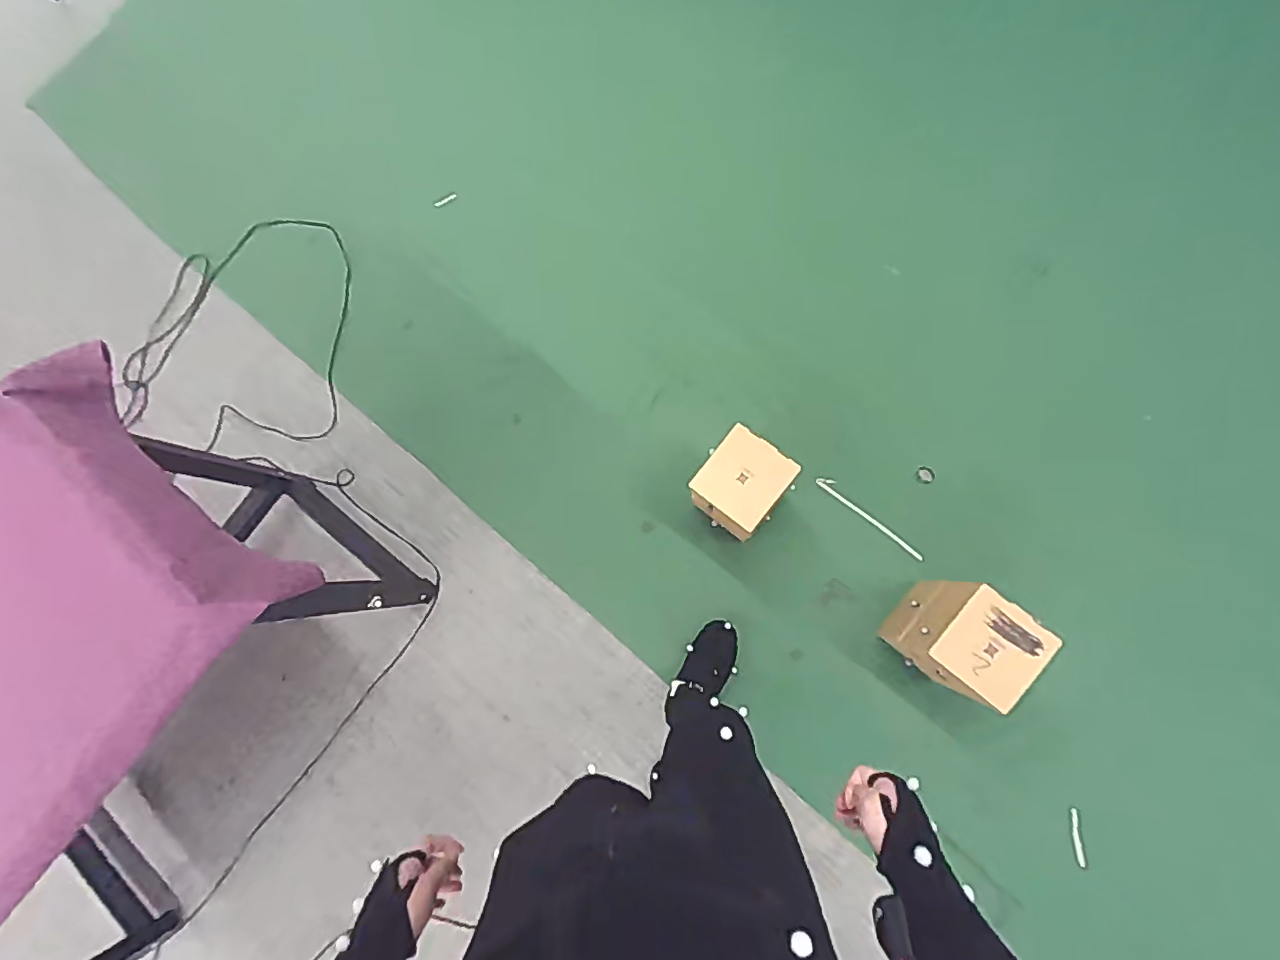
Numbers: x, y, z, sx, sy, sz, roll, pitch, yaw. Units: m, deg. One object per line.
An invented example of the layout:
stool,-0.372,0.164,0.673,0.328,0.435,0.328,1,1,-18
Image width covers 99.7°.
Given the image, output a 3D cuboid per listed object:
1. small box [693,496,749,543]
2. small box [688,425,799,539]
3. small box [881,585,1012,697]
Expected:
small box,0.252,0.041,1.358,0.168,0.176,0.179,38,88,14
small box,0.229,0.013,1.201,0.168,0.176,0.179,38,86,14
small box,0.683,0.356,1.234,0.168,0.176,0.179,41,88,13
